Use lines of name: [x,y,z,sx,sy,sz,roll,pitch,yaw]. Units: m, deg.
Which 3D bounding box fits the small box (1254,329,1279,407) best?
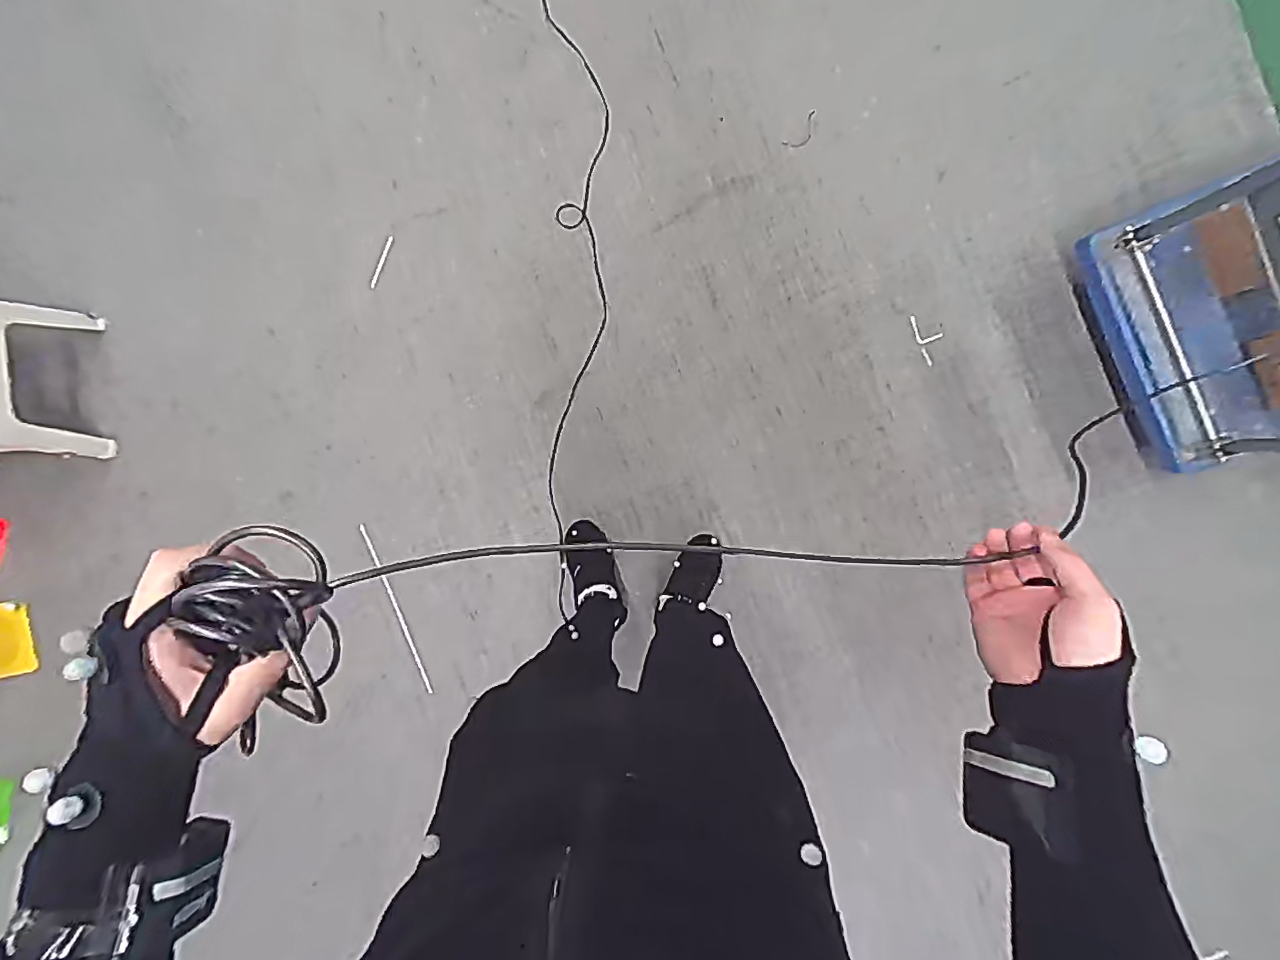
small box: [1.418,-0.255,1.078,0.179,0.176,0.168,-21,91,4]
